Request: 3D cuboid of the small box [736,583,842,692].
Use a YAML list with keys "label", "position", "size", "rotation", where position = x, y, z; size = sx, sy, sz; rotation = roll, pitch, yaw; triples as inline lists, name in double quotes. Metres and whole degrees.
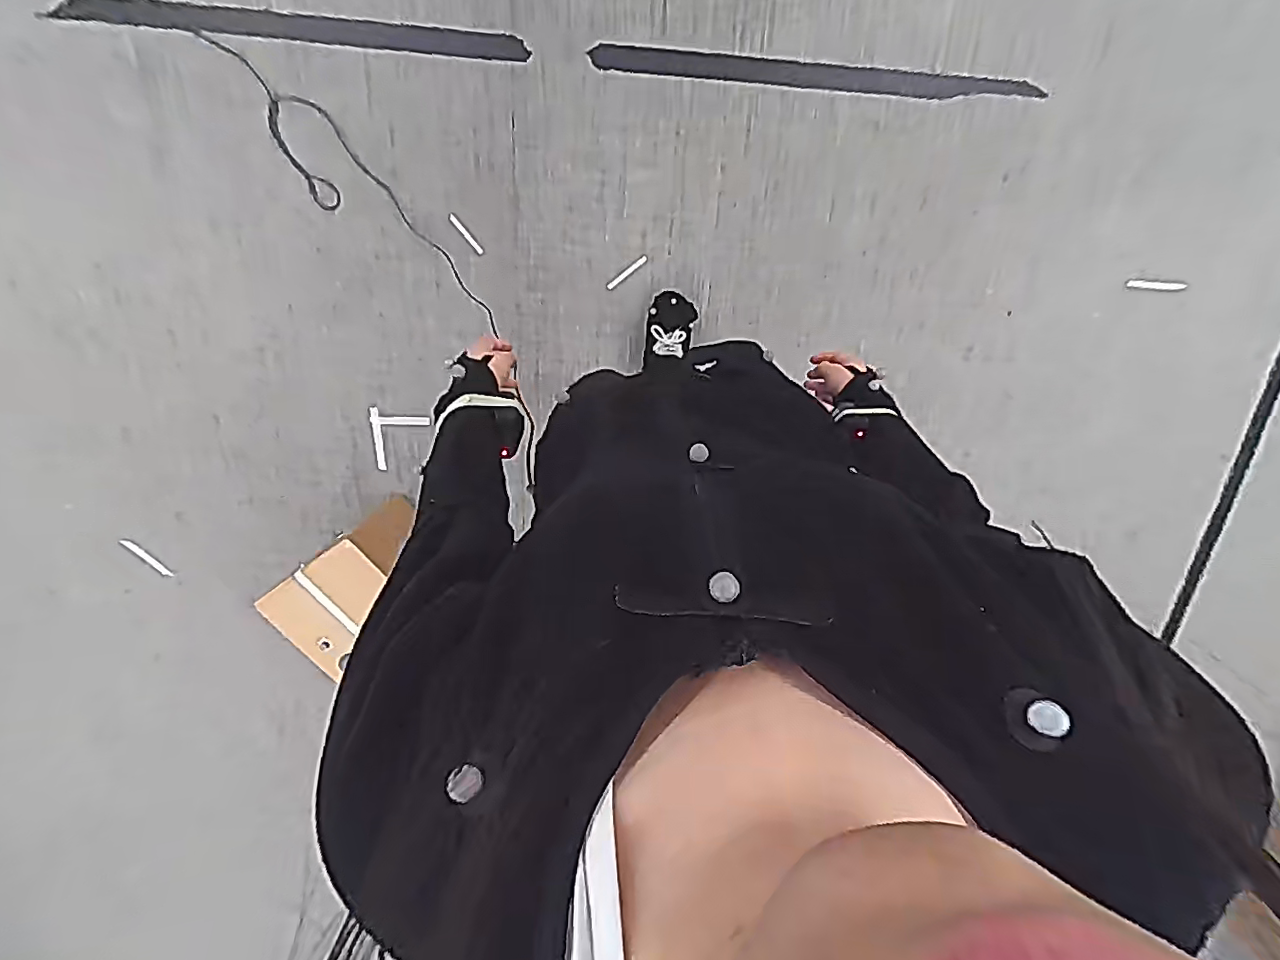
- label: "small box"
  position: [0.368, 0.388, 1.371]
  size: [0.179, 0.176, 0.168]
  rotation: [43, 104, -15]
